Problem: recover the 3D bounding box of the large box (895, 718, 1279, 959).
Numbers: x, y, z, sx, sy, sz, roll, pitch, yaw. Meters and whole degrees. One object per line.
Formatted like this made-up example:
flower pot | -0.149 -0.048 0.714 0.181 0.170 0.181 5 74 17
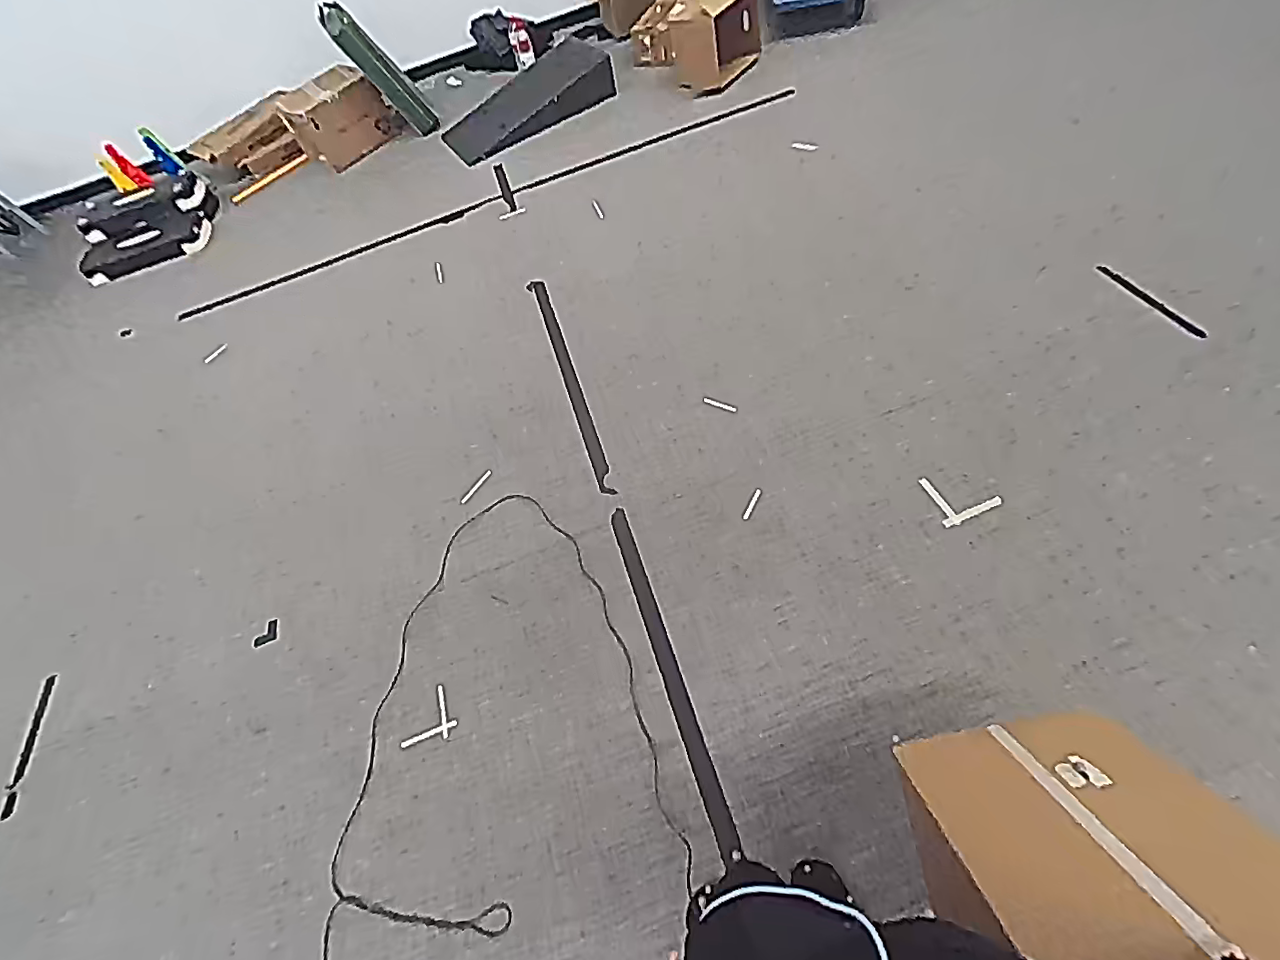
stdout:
large box | 0.582 0.570 0.671 0.320 0.408 0.320 -14 94 6
